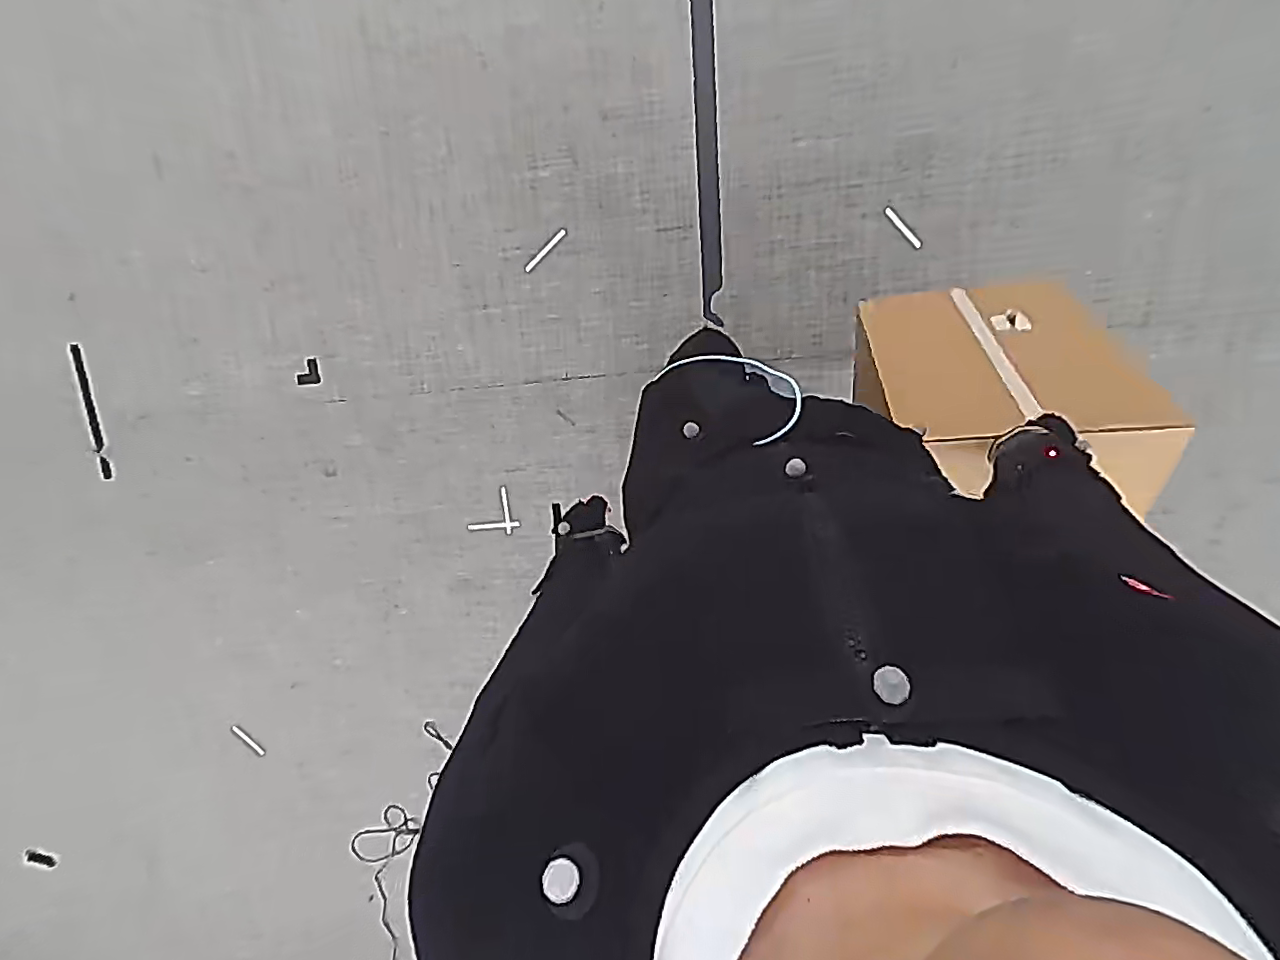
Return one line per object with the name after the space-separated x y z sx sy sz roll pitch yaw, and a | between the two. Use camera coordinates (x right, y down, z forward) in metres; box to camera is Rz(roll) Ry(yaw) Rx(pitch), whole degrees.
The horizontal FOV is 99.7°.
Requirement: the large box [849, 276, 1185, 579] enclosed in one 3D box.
0.542 -0.089 0.897 0.320 0.408 0.320 -3 132 13 | large box
